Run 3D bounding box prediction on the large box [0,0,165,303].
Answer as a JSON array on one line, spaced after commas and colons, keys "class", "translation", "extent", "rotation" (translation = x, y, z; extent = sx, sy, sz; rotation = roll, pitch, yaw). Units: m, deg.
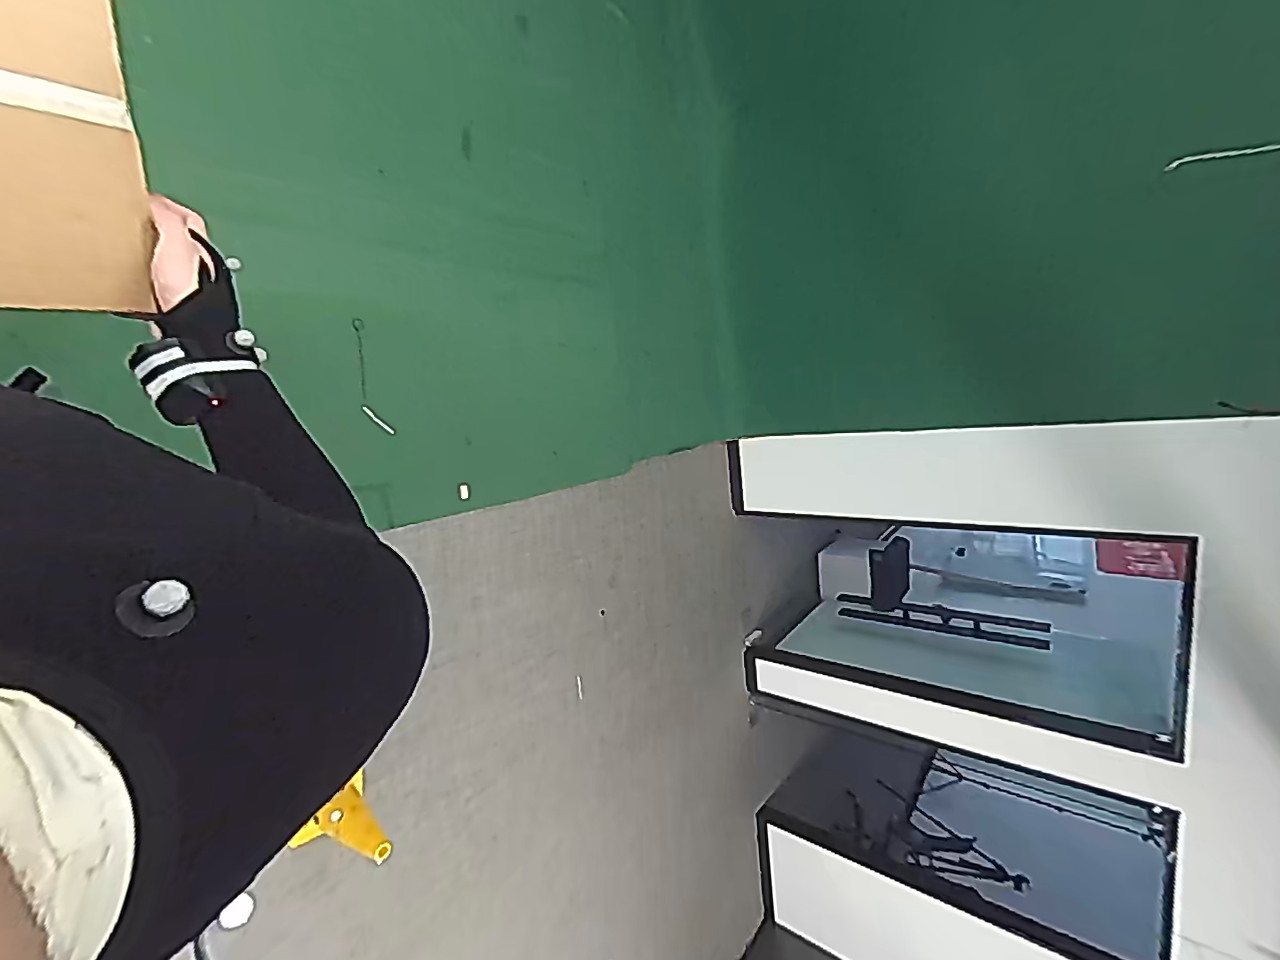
[{"class": "large box", "translation": [-0.668, -0.307, 0.387], "extent": [0.408, 0.320, 0.320], "rotation": [-19, 123, -49]}]
